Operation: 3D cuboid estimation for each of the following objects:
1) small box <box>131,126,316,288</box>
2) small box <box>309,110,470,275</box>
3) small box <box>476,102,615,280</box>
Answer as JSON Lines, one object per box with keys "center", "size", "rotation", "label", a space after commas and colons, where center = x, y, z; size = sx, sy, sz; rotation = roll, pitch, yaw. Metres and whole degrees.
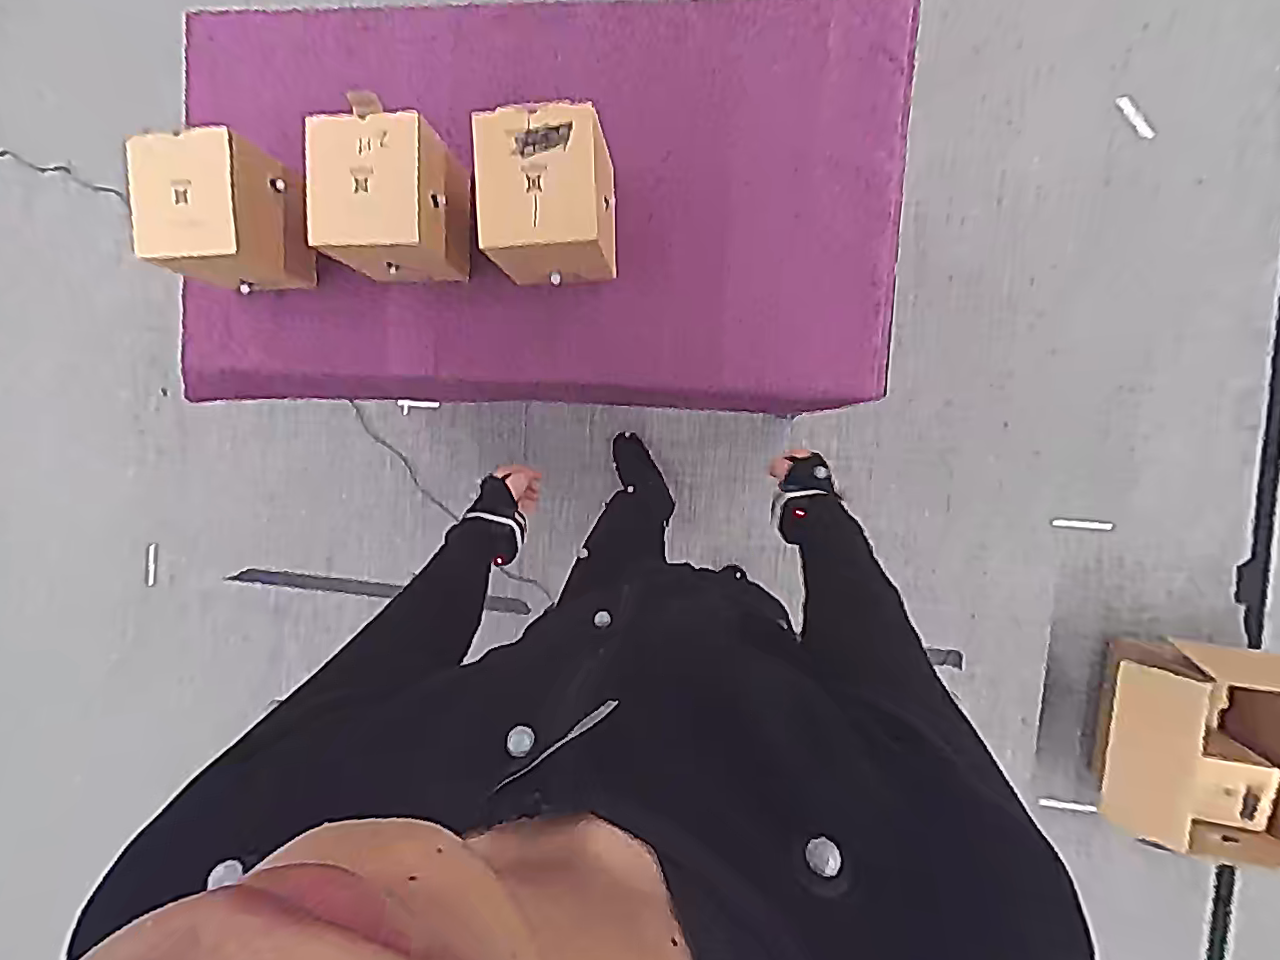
{"center": [-0.644, -0.418, 0.854], "size": [0.168, 0.176, 0.179], "rotation": [0, 93, 6], "label": "small box"}
{"center": [-0.371, -0.422, 0.825], "size": [0.168, 0.176, 0.179], "rotation": [2, 93, 6], "label": "small box"}
{"center": [-0.130, -0.413, 0.800], "size": [0.168, 0.176, 0.179], "rotation": [-1, 94, 6], "label": "small box"}
